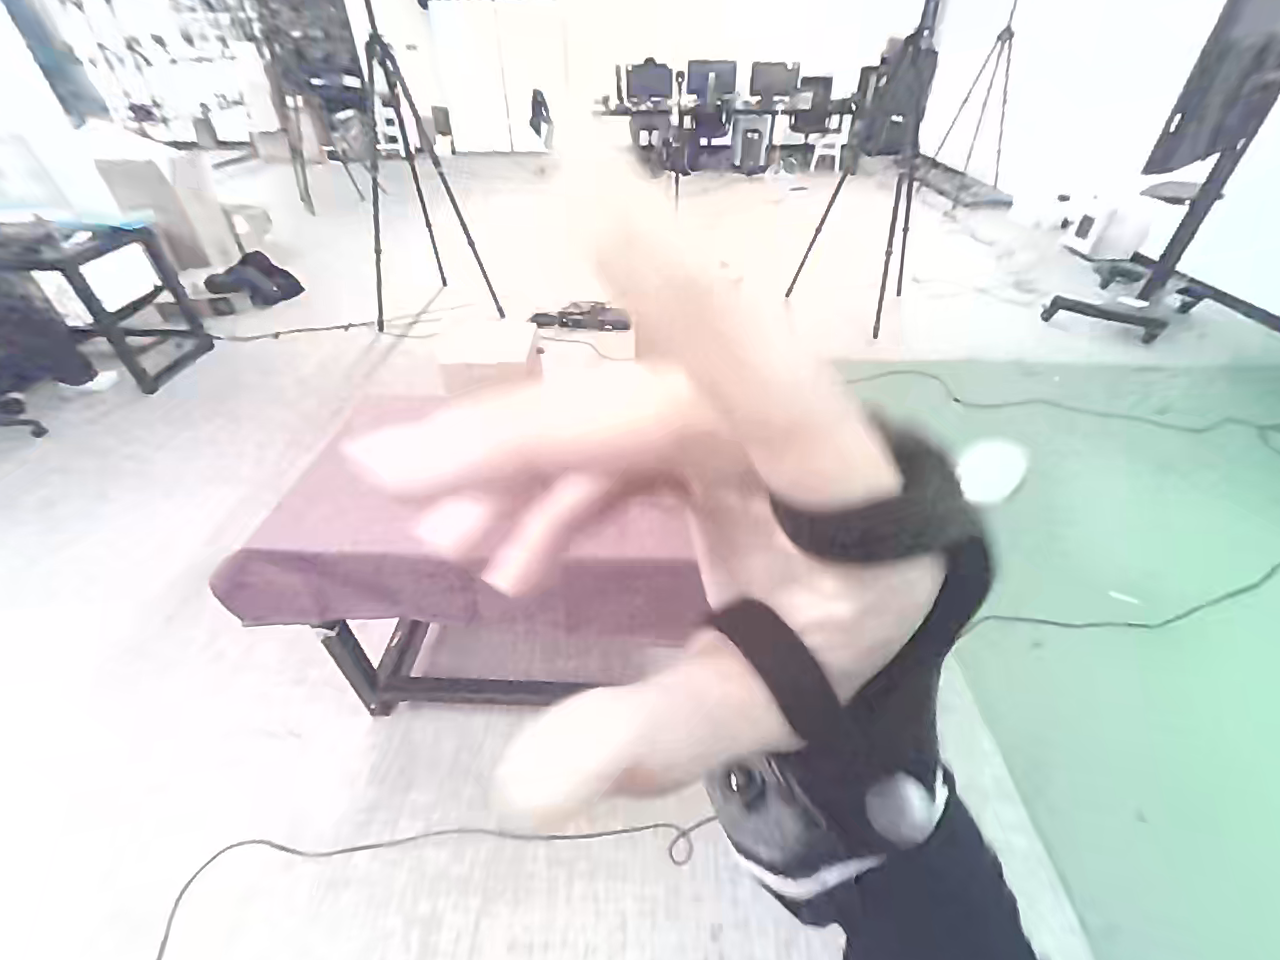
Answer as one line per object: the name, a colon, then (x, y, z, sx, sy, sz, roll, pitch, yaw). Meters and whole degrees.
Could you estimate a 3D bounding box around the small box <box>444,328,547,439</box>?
small box: (-0.289, -0.202, 1.125, 0.168, 0.176, 0.179, -1, 39, -1)
